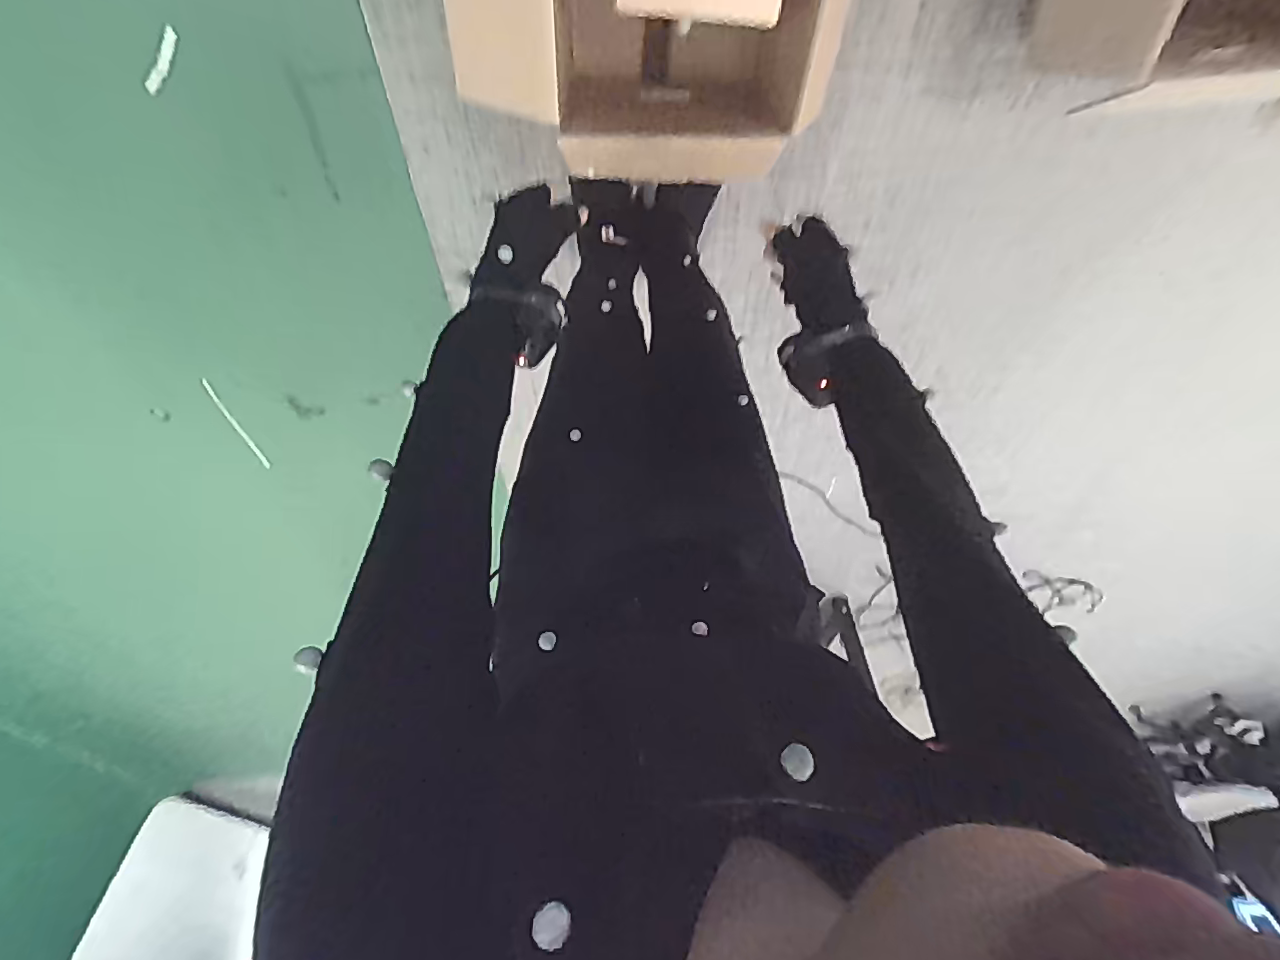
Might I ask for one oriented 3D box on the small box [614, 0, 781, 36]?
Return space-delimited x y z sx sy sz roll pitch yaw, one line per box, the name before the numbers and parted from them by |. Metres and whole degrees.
small box | 0.063 -0.604 0.583 0.179 0.176 0.168 1 136 -5
